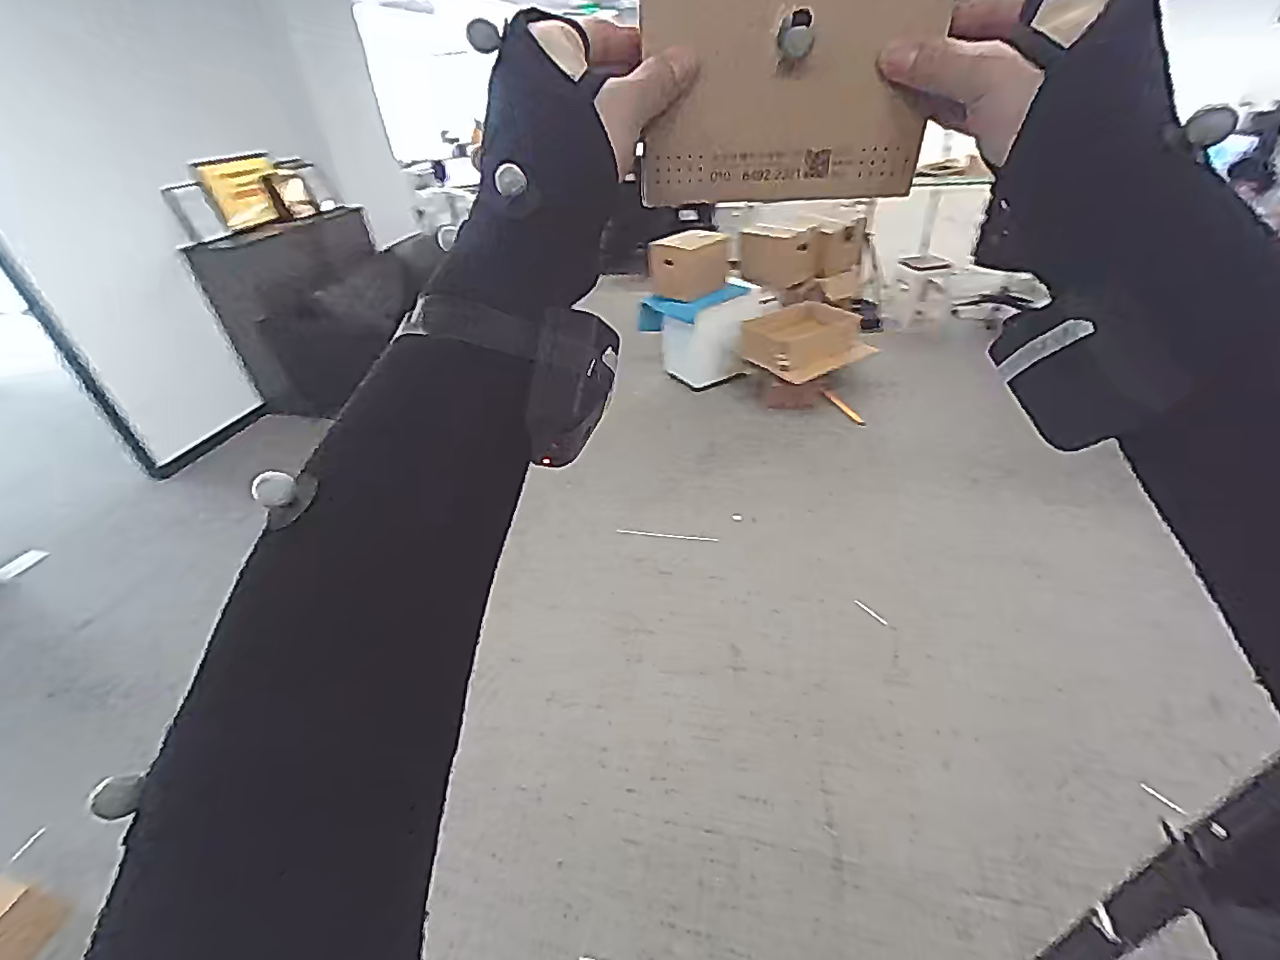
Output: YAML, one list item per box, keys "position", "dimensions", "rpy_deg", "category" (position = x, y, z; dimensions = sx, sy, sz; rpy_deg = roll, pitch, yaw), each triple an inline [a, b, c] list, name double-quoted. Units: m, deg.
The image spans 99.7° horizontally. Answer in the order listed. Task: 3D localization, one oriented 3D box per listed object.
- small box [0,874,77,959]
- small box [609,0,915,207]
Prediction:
- position: [-1.609, 1.141, 1.361]
  dimensions: [0.168, 0.176, 0.179]
  rpy_deg: [4, 35, 13]
  category: "small box"
- position: [0.068, -0.284, 0.356]
  dimensions: [0.168, 0.176, 0.179]
  rpy_deg: [-1, 36, 2]
  category: "small box"
